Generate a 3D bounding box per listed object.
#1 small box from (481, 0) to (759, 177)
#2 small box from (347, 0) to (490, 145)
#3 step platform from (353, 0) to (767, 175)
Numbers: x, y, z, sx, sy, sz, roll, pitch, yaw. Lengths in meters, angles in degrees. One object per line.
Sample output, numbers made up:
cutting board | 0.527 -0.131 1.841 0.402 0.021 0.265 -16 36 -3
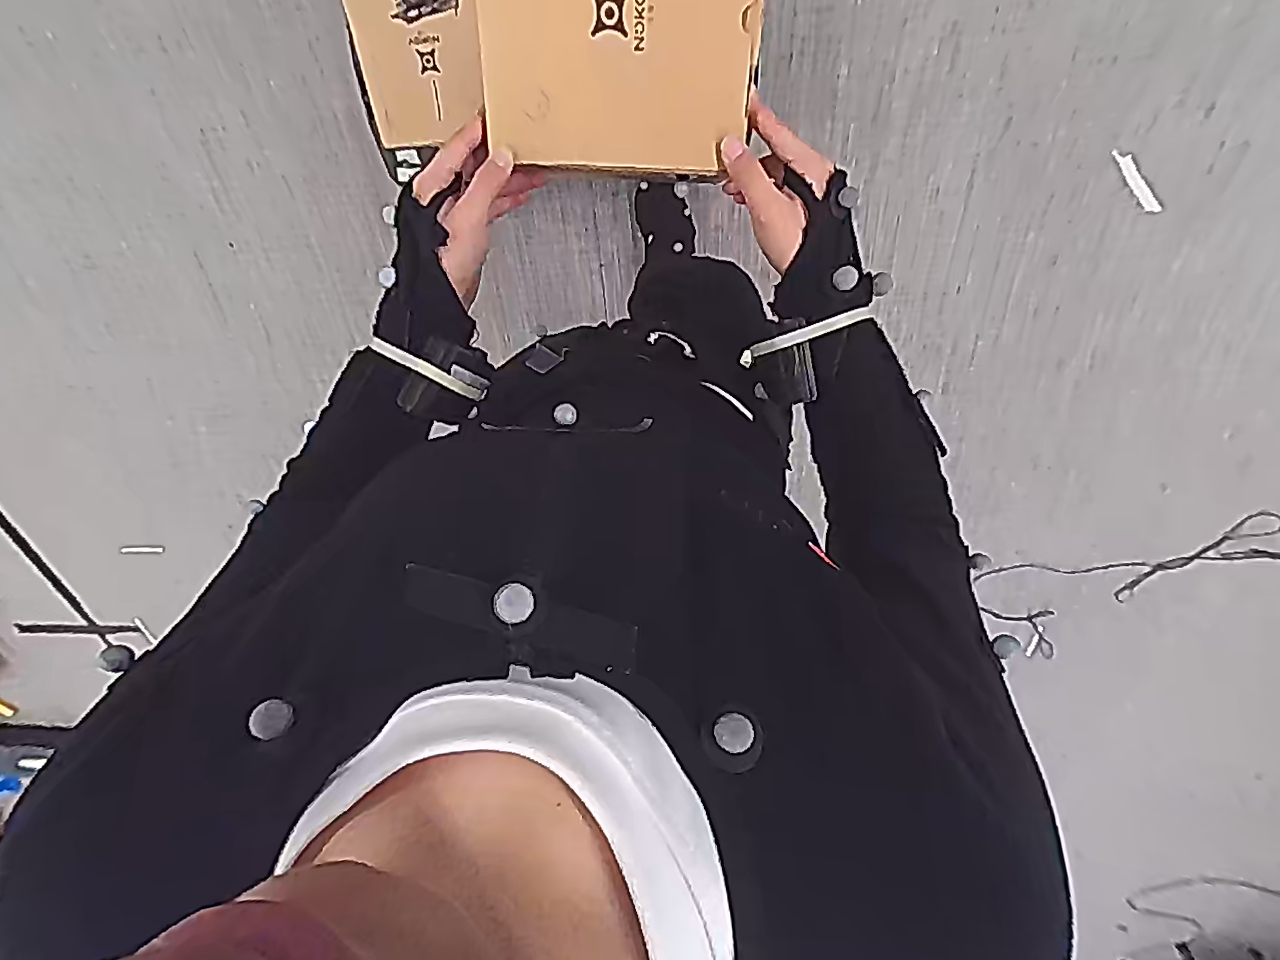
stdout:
small box | -0.011 -0.329 0.406 0.179 0.176 0.168 2 116 0
small box | -0.233 -0.526 0.677 0.168 0.176 0.179 0 123 5
step platform | -0.127 -0.721 0.946 0.684 0.204 0.286 -1 122 6
